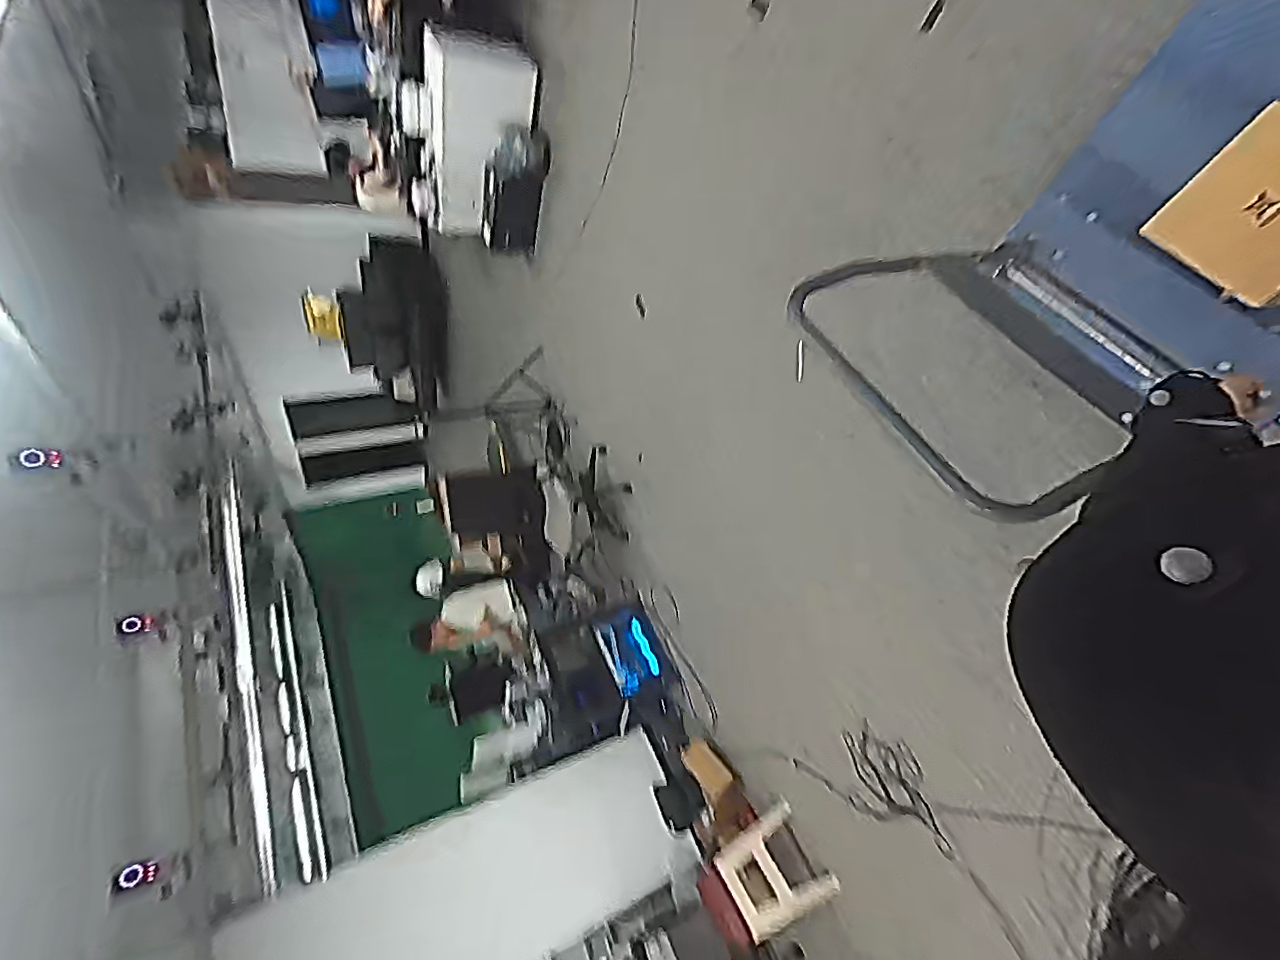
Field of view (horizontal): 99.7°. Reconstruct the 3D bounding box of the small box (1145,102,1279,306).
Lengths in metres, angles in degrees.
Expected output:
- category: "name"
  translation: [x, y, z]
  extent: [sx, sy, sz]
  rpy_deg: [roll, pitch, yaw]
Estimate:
- category: "small box"
  translation: [0.824, -0.343, 0.688]
  extent: [0.179, 0.176, 0.168]
  rpy_deg: [59, 147, 27]
